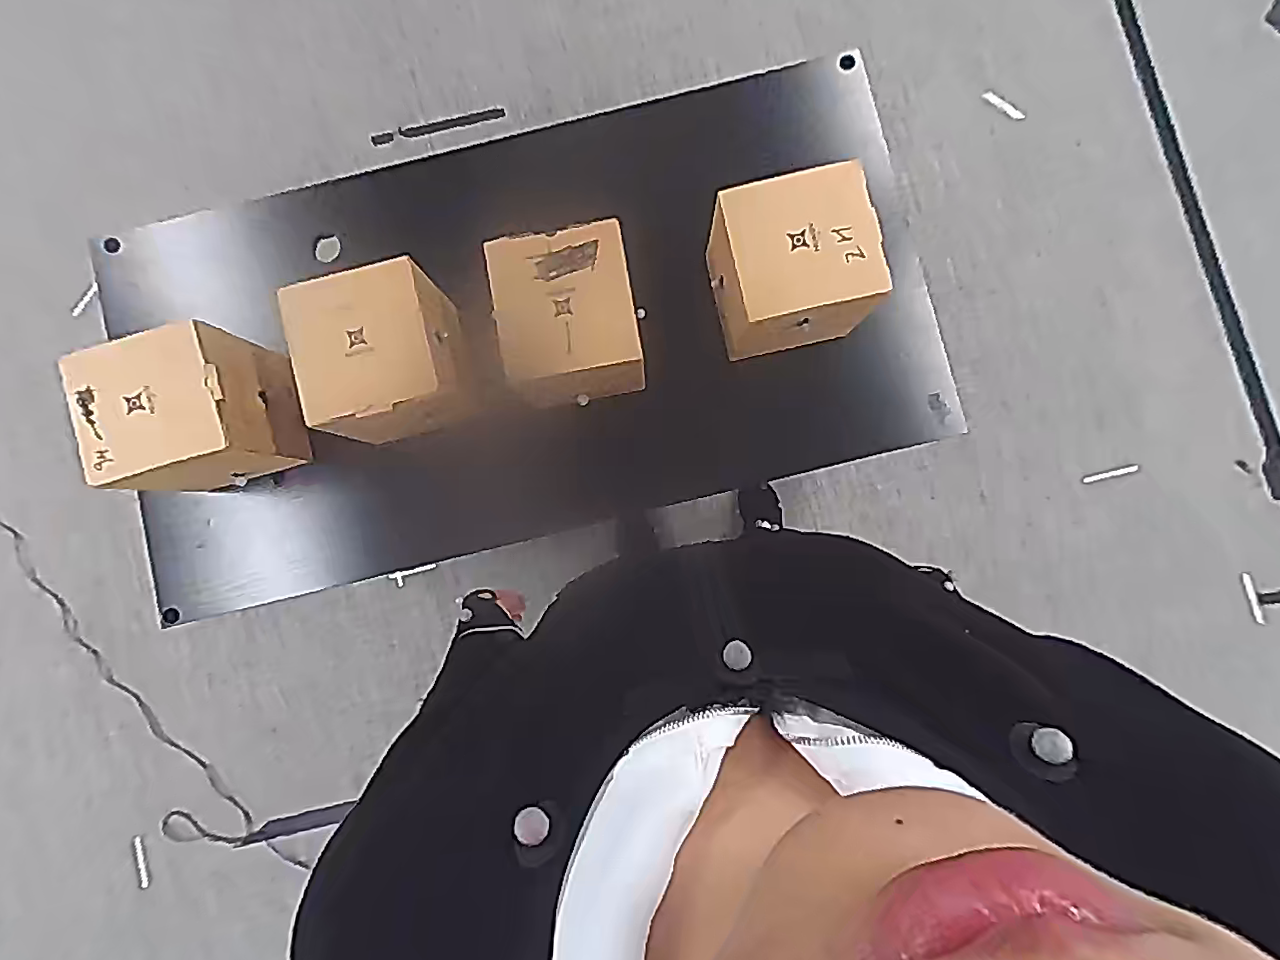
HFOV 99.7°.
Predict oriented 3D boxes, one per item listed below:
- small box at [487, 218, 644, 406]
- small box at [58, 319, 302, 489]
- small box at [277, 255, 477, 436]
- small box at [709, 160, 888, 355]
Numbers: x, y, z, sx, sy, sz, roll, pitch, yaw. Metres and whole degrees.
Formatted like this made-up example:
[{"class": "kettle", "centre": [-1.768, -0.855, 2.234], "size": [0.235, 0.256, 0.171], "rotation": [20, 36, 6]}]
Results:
[{"class": "small box", "centre": [-0.090, -0.210, 0.719], "size": [0.168, 0.176, 0.179], "rotation": [-10, 87, 0]}, {"class": "small box", "centre": [-0.587, -0.090, 0.720], "size": [0.179, 0.176, 0.168], "rotation": [-16, 86, -1]}, {"class": "small box", "centre": [-0.335, -0.163, 0.722], "size": [0.168, 0.176, 0.179], "rotation": [-15, 86, 0]}, {"class": "small box", "centre": [0.193, -0.278, 0.718], "size": [0.179, 0.176, 0.168], "rotation": [-12, 87, 1]}]
